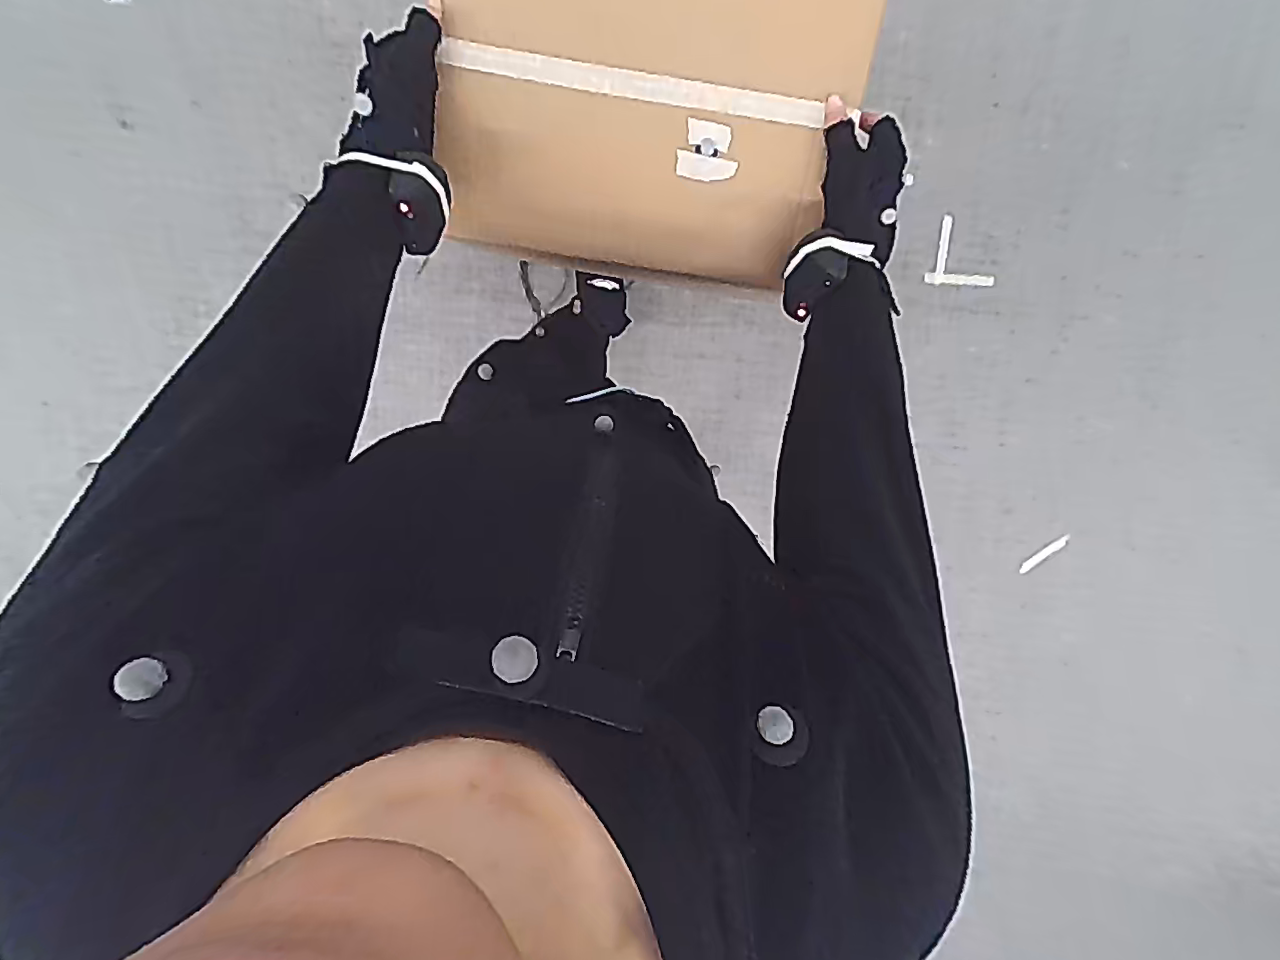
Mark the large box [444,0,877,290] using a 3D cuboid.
[{"bbox_3d":[0.009,-0.426,0.666,0.408,0.320,0.320,8,109,-3],"label":"large box"}]
